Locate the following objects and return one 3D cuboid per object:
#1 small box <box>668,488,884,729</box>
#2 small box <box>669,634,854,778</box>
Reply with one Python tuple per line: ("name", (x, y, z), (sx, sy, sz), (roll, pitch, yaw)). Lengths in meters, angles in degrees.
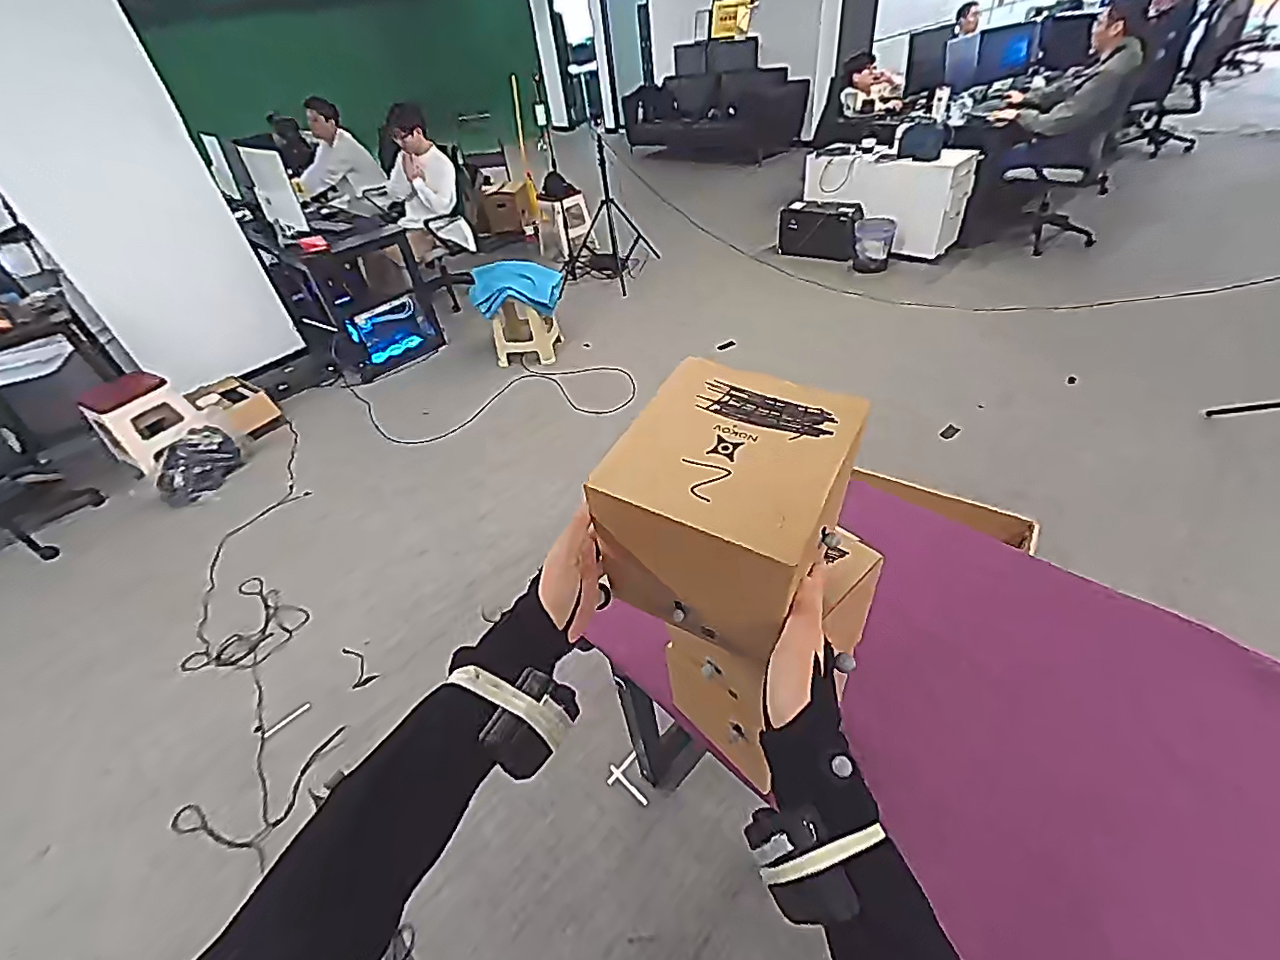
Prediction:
("small box", (0.152, 0.147, 0.637), (0.179, 0.176, 0.168), (-35, 48, -26))
("small box", (0.162, 0.273, 0.742), (0.168, 0.176, 0.179), (-33, 46, -26))
